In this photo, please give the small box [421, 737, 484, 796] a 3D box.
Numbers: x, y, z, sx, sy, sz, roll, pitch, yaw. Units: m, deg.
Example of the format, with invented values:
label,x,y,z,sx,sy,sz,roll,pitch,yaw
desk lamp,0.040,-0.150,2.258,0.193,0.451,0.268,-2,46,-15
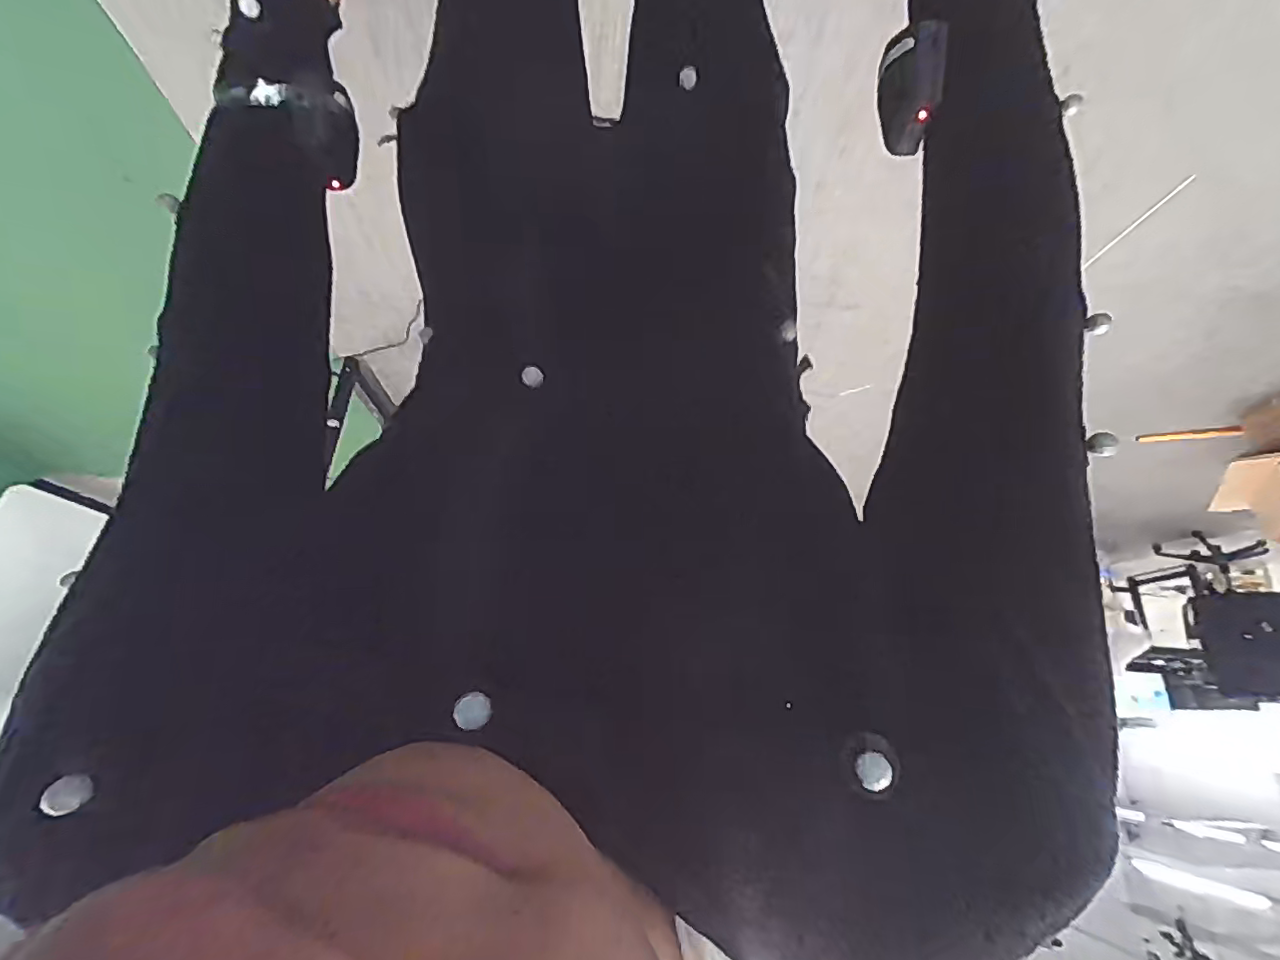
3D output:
label,x,y,z,sx,sy,sz,roll,pitch,yaw
small box,-0.672,1.030,1.954,0.179,0.176,0.168,6,159,-9
